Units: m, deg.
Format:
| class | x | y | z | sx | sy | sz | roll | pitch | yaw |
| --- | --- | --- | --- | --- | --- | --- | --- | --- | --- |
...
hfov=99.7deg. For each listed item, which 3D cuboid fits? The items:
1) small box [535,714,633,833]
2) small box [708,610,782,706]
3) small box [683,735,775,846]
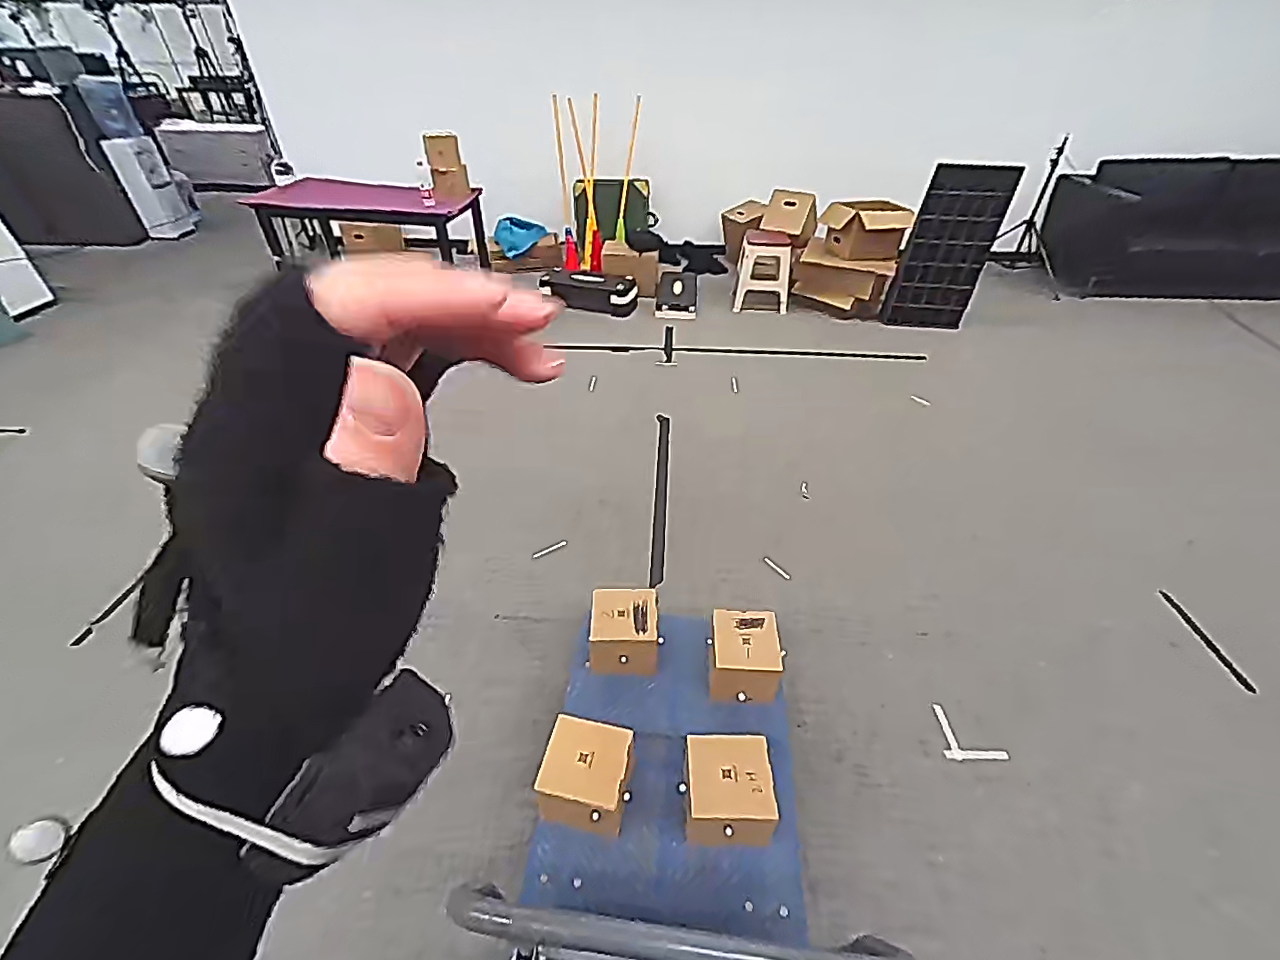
| class | x | y | z | sx | sy | sz | roll | pitch | yaw |
| --- | --- | --- | --- | --- | --- | --- | --- | --- | --- |
| small box | -0.119 | 0.657 | 1.207 | 0.179 | 0.176 | 0.168 | 10 | 40 | 8 |
| small box | 0.270 | 0.471 | 1.435 | 0.168 | 0.176 | 0.179 | 3 | 41 | 3 |
| small box | 0.185 | 0.680 | 1.183 | 0.179 | 0.176 | 0.168 | 1 | 40 | 1 |
